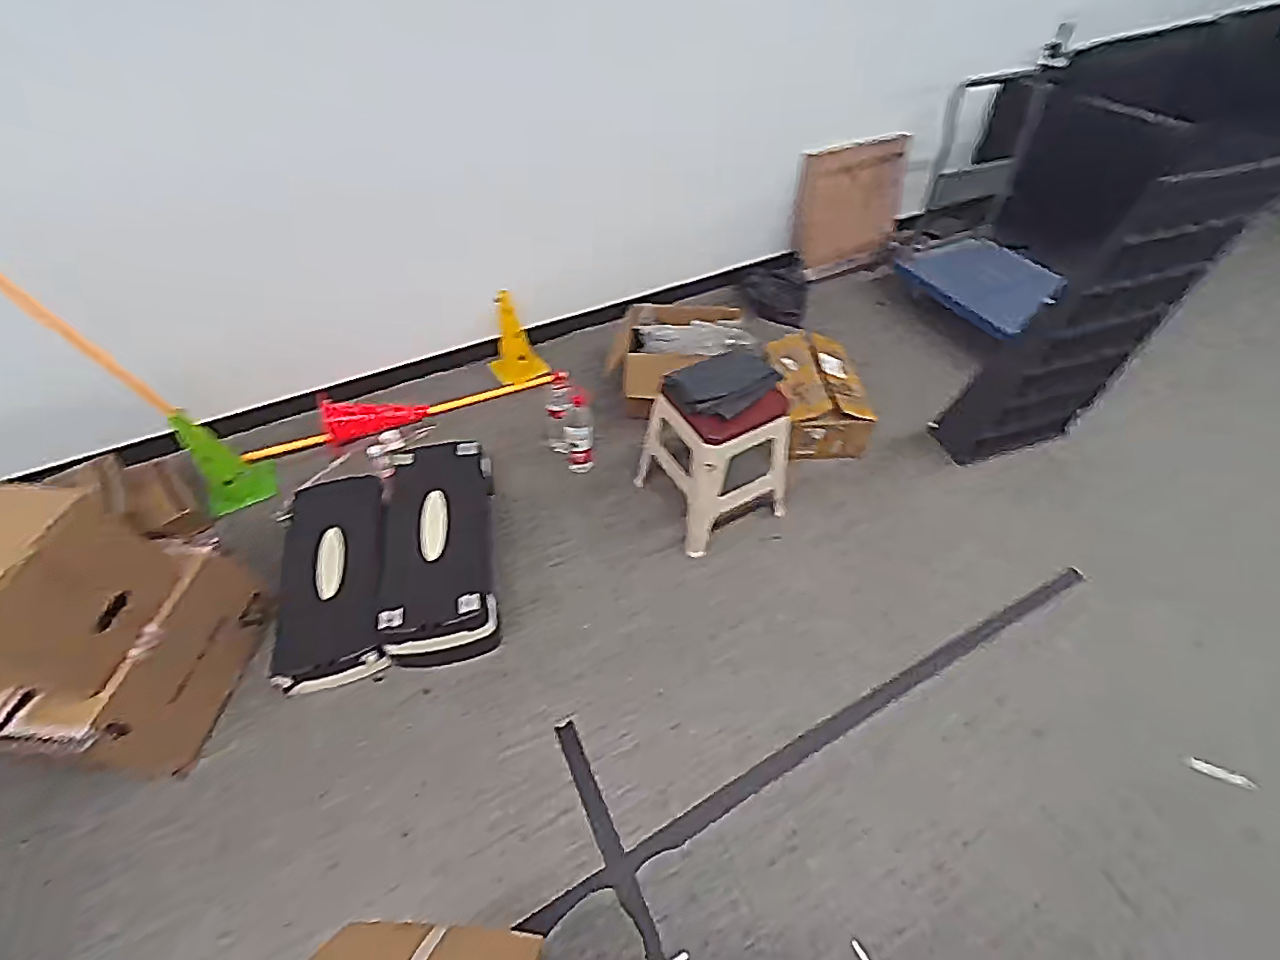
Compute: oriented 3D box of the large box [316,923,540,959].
[{"bbox_3d":[-0.322,0.807,0.622,0.320,0.408,0.320,3,75,3],"label":"large box"}]
